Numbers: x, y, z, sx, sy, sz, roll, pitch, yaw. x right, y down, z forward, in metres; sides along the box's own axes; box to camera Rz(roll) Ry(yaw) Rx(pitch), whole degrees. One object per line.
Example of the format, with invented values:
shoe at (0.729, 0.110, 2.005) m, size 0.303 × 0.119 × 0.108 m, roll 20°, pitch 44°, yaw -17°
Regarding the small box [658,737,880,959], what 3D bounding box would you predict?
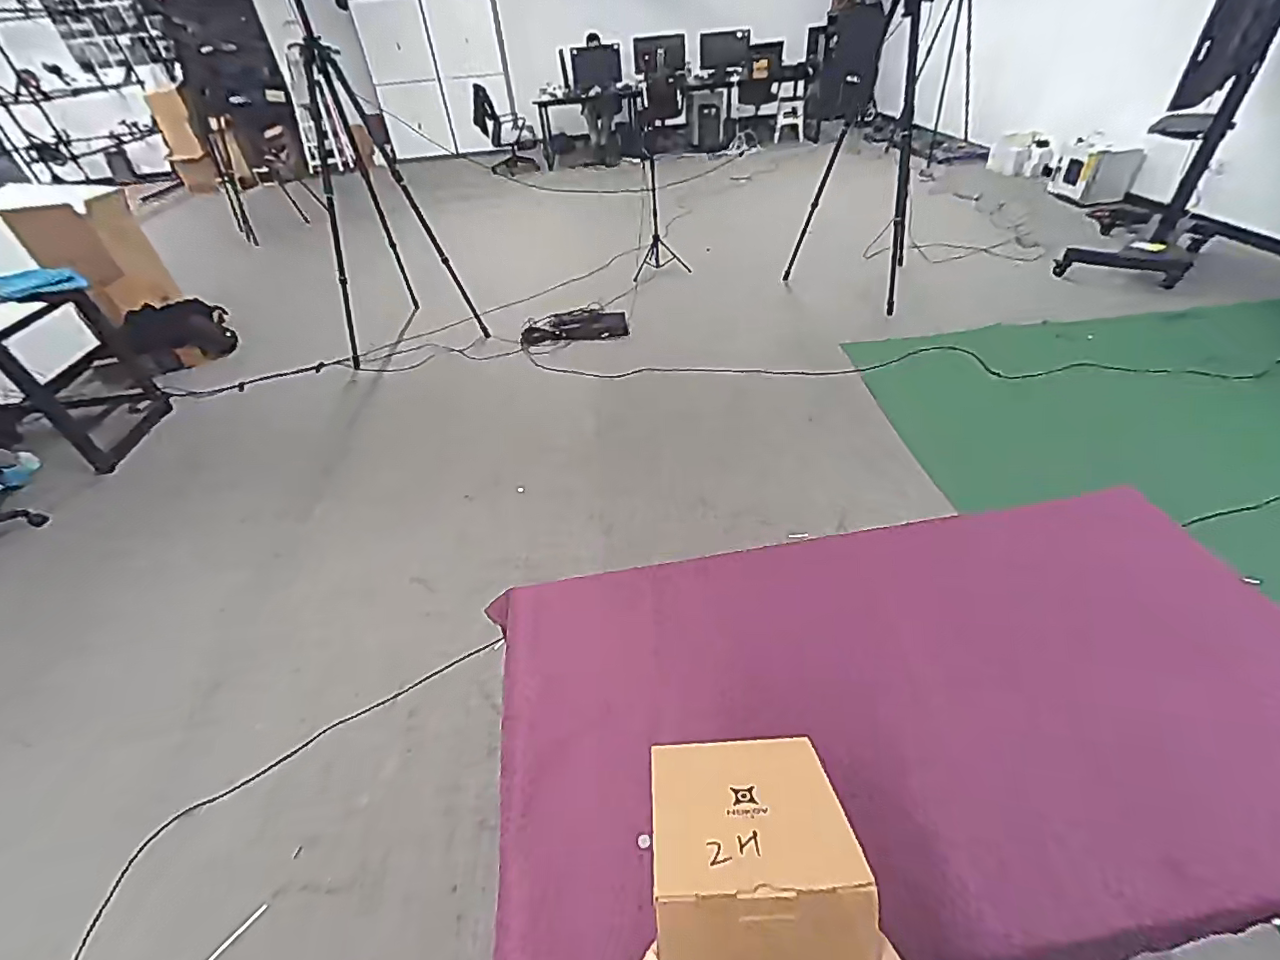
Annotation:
small box at (0.103, 0.367, 0.495) m, size 0.168 × 0.176 × 0.179 m, roll -5°, pitch 9°, yaw 2°
